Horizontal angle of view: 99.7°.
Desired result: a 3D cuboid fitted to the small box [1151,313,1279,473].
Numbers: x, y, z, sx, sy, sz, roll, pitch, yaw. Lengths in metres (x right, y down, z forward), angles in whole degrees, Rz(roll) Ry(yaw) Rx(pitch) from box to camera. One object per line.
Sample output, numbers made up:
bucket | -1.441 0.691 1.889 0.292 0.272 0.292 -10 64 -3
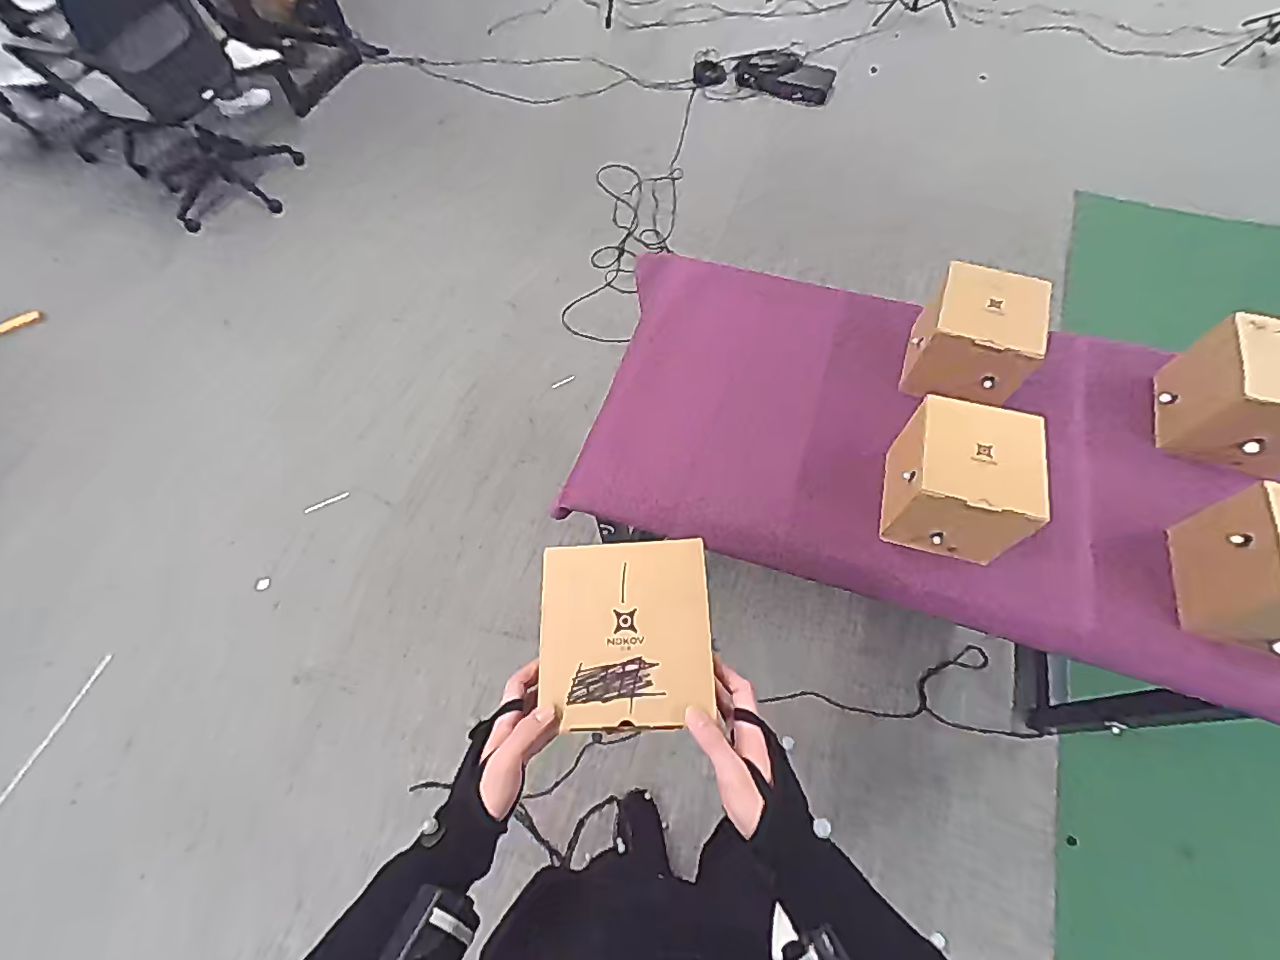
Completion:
small box | 0.989 -0.135 0.883 0.168 0.176 0.179 17 67 11

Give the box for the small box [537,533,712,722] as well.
small box | -0.007 0.167 0.594 0.168 0.176 0.179 -3 66 5

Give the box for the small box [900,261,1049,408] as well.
small box | 0.586 -0.249 0.965 0.168 0.176 0.179 19 65 12

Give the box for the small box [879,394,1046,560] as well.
small box | 0.486 0.000 0.837 0.168 0.176 0.179 14 63 9

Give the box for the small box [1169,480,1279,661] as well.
small box | 0.887 0.131 0.745 0.168 0.176 0.179 15 63 12
